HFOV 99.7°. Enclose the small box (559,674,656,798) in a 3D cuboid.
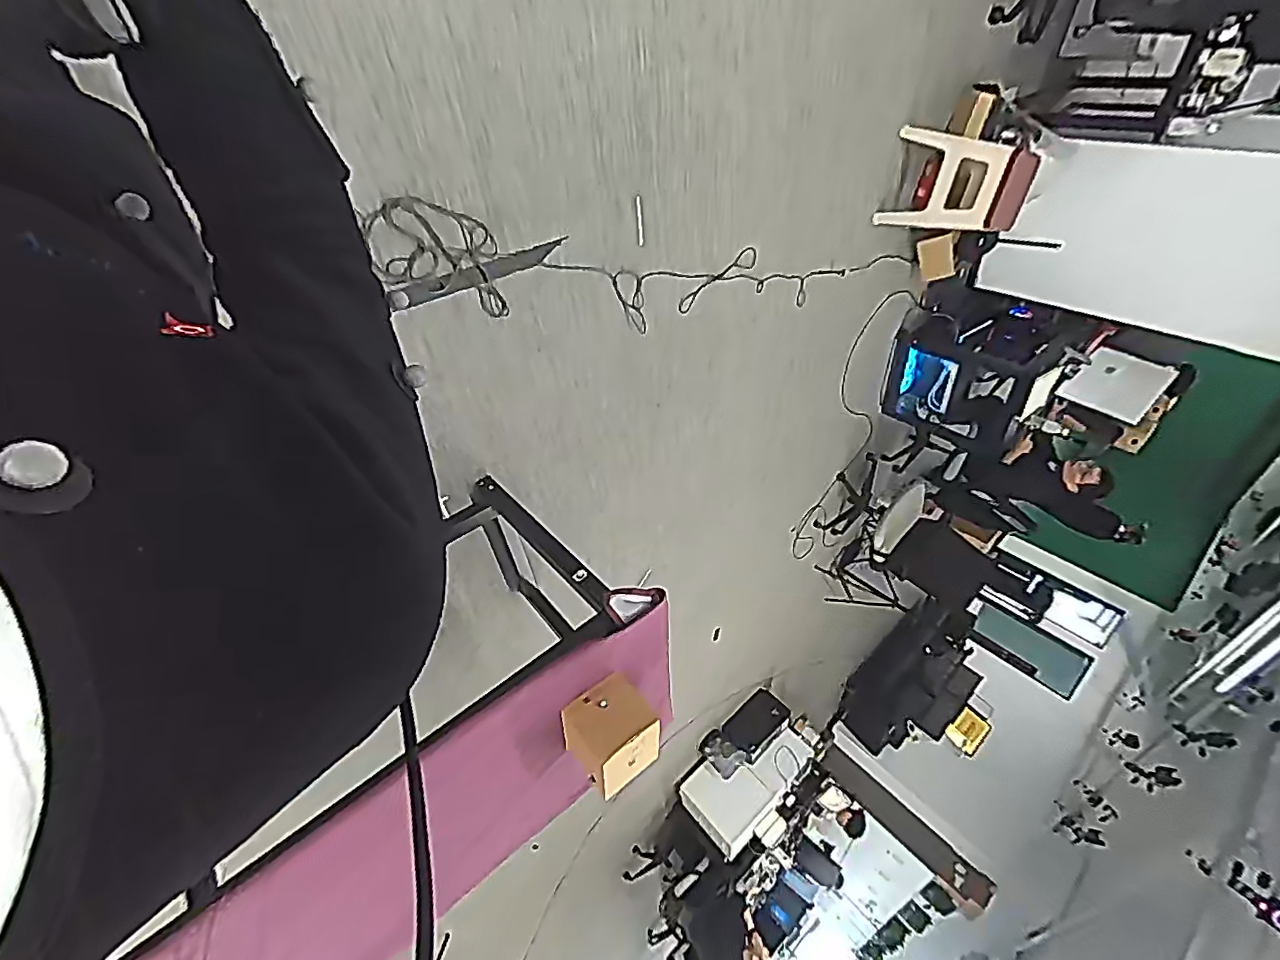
[{"bbox_3d":[-0.080,0.607,1.301,0.168,0.176,0.179,-26,133,-32],"label":"small box"}]
